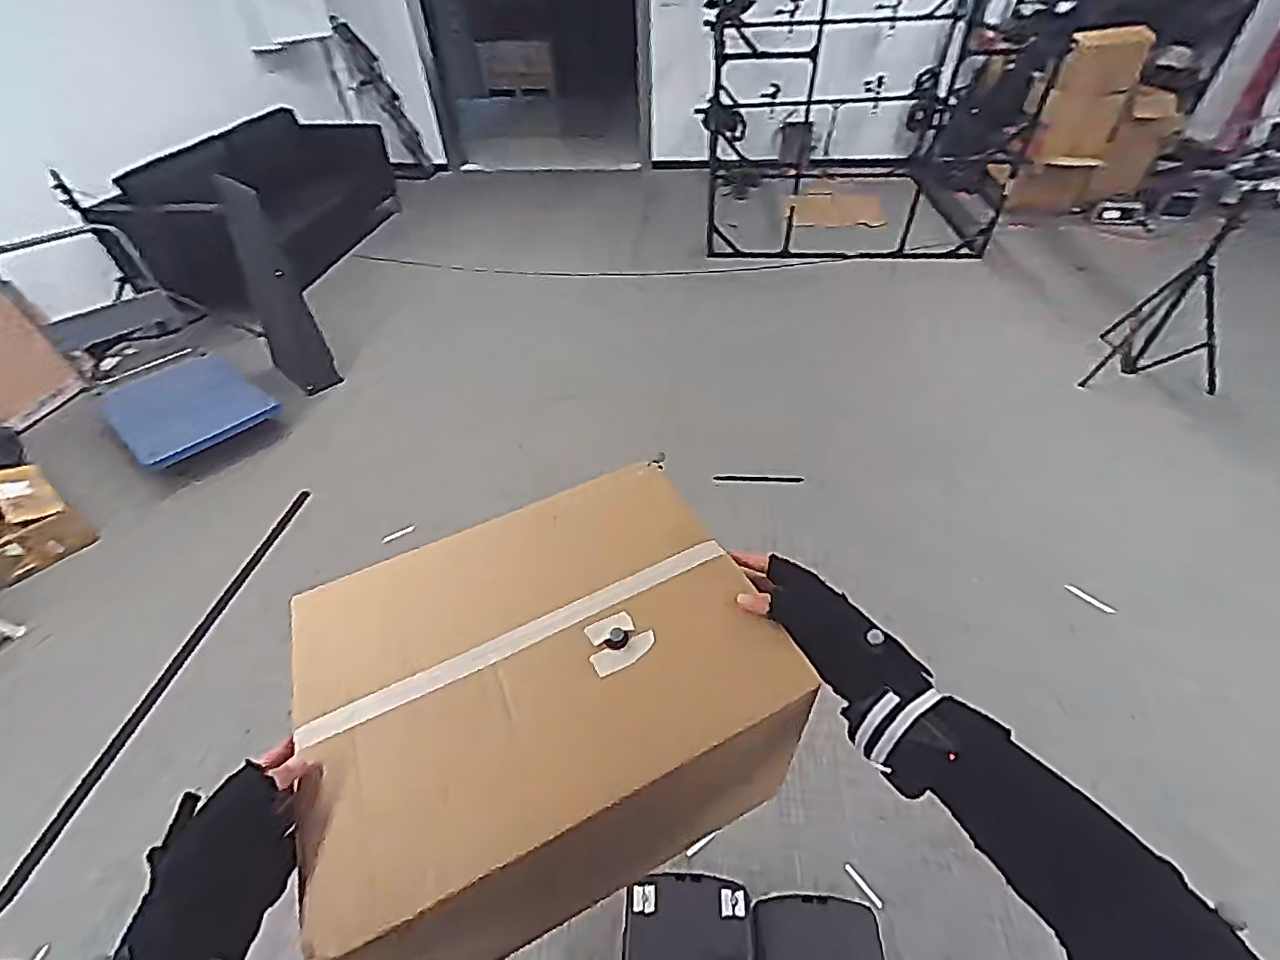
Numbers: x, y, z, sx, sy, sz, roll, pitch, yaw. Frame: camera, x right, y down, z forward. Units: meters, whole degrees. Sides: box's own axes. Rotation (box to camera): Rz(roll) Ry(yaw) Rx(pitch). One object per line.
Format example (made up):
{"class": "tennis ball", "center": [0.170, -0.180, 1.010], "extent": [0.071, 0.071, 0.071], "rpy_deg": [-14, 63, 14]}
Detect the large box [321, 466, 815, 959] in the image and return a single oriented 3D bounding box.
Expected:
{"class": "large box", "center": [-0.079, 0.250, 0.616], "extent": [0.408, 0.320, 0.320], "rpy_deg": [-21, 48, -15]}

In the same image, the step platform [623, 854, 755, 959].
{"class": "step platform", "center": [0.095, 1.162, 1.079], "extent": [0.286, 0.204, 0.684], "rpy_deg": [1, 43, 3]}
